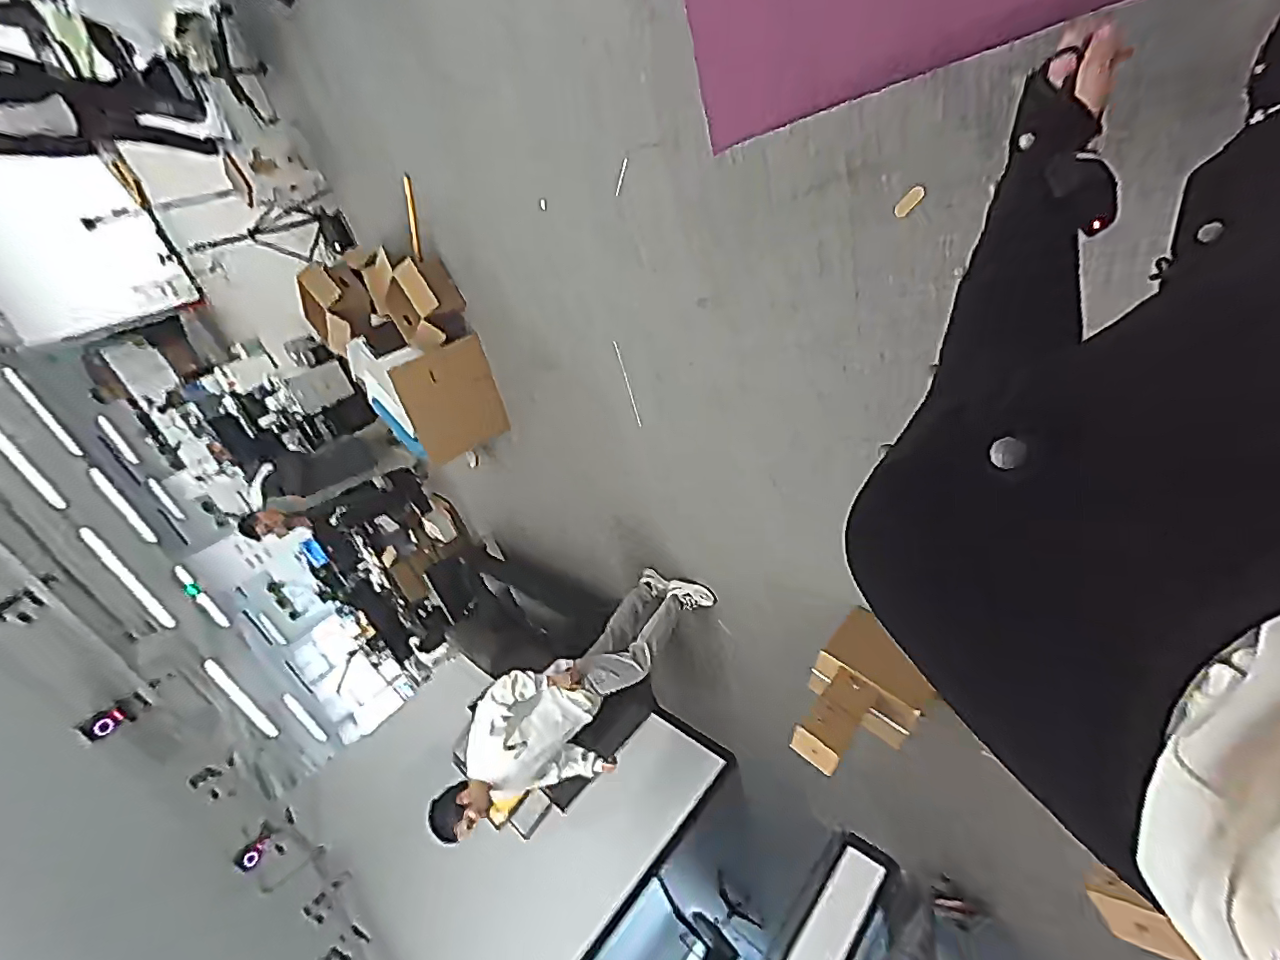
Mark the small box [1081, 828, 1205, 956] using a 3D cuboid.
[{"bbox_3d":[1.284,1.034,1.378,0.168,0.176,0.179,56,147,-5],"label":"small box"}]

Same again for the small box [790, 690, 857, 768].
[{"bbox_3d":[0.690,0.930,2.031,0.168,0.176,0.179,31,141,31],"label":"small box"}]

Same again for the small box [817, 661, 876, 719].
[{"bbox_3d":[0.798,0.853,2.126,0.168,0.176,0.179,32,140,29],"label":"small box"}]
